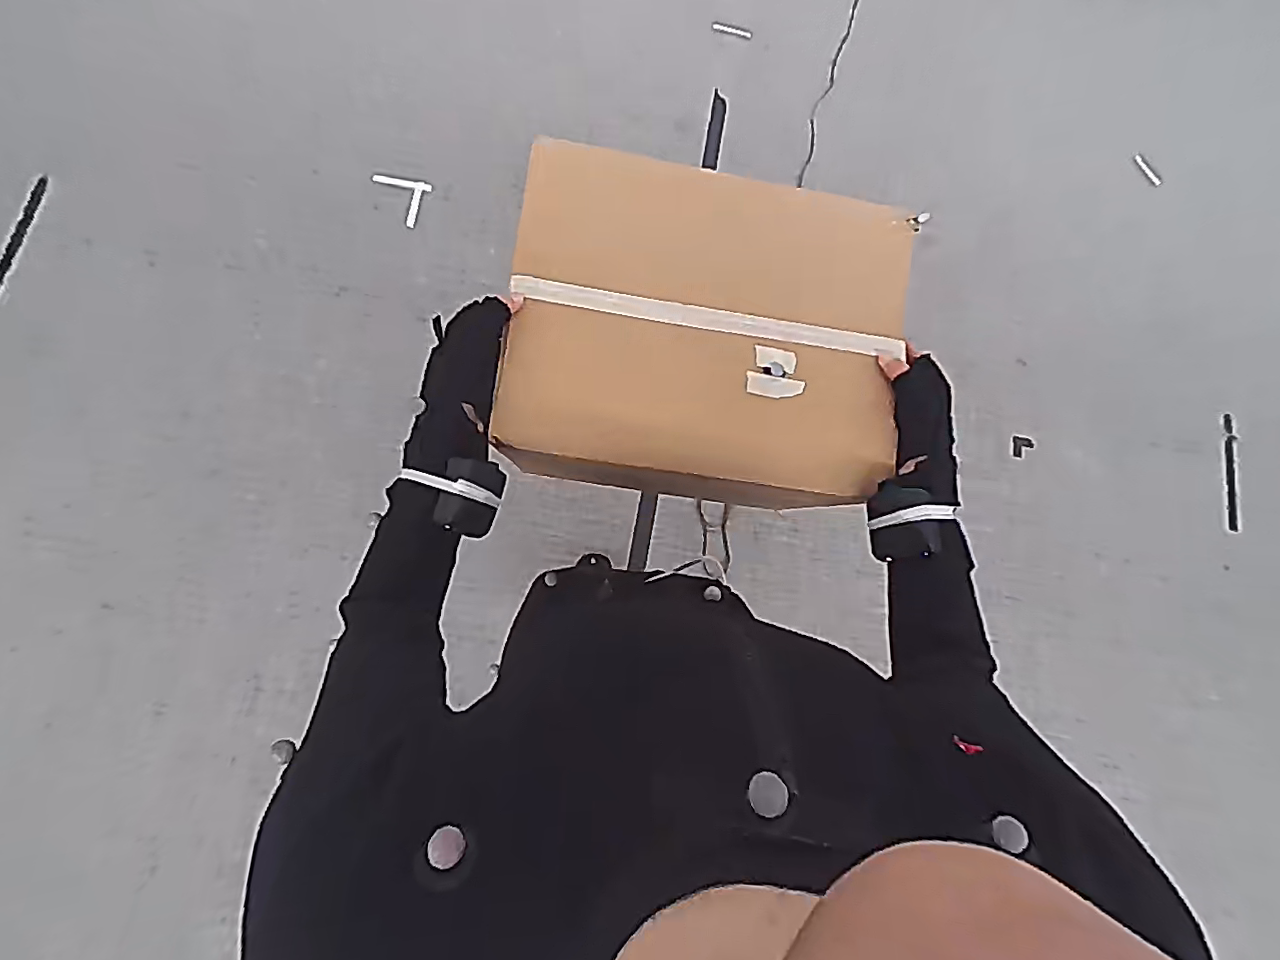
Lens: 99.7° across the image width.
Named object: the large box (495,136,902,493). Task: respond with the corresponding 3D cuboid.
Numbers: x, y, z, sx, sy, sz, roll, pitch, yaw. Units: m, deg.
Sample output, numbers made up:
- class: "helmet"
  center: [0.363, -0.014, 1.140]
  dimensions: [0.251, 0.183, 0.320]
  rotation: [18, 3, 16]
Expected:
- class: "large box"
  center: [0.052, -0.164, 0.702]
  dimensions: [0.408, 0.320, 0.320]
  rotation: [9, 87, -6]
